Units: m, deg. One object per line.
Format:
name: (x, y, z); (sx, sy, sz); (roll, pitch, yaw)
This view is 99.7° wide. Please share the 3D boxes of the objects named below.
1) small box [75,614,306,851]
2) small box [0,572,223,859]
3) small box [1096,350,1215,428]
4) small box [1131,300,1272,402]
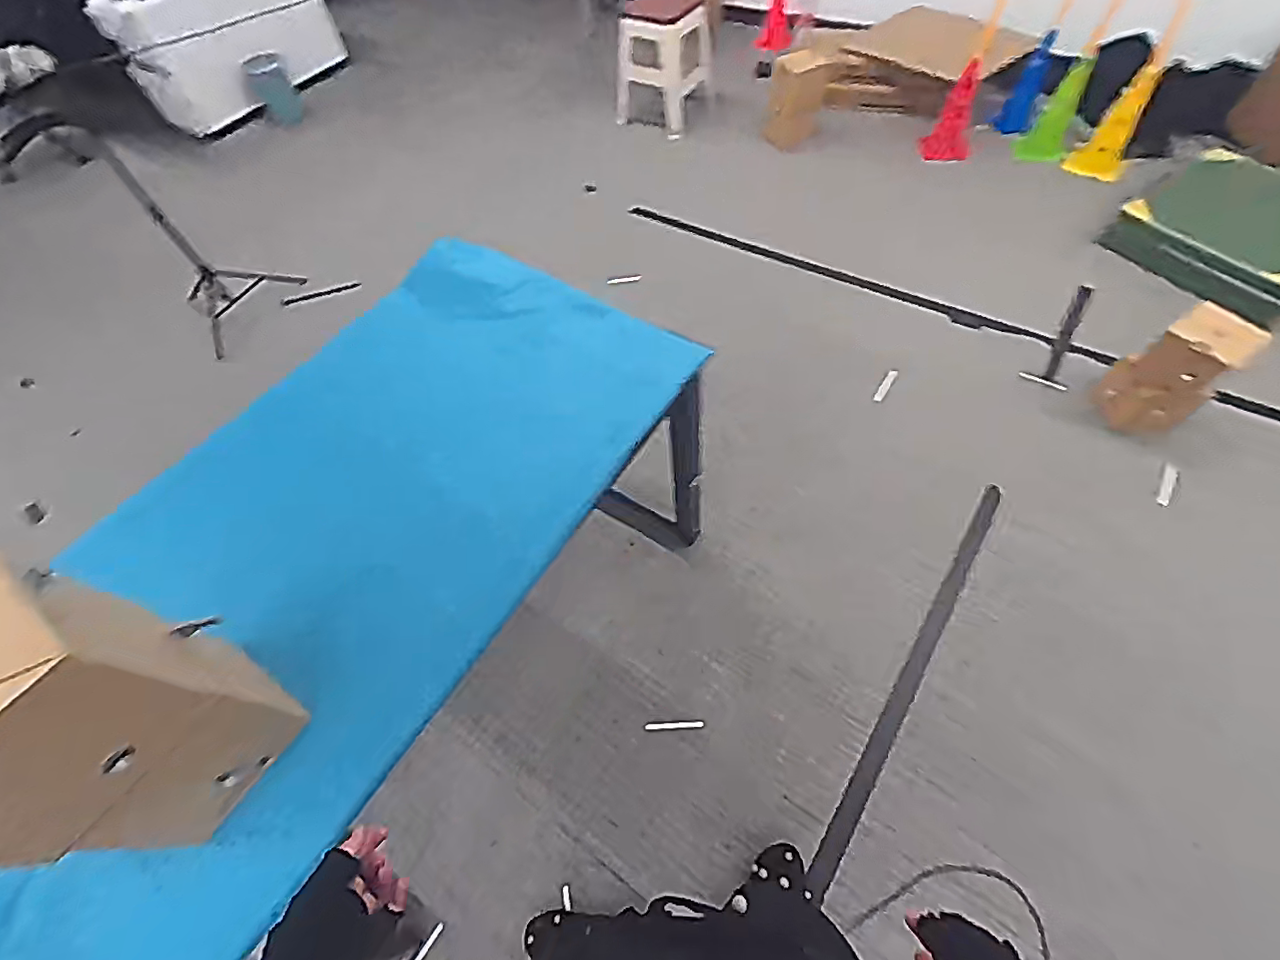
small box: (-0.541, 0.287, 0.620); (0.179, 0.176, 0.168); (31, 67, 20)
small box: (-0.543, 0.203, 0.476); (0.168, 0.176, 0.179); (29, 65, 21)
small box: (1.508, -0.267, 1.602); (0.179, 0.176, 0.168); (-1, 59, 5)
small box: (1.491, -0.340, 1.454); (0.179, 0.176, 0.168); (-30, 62, -13)
